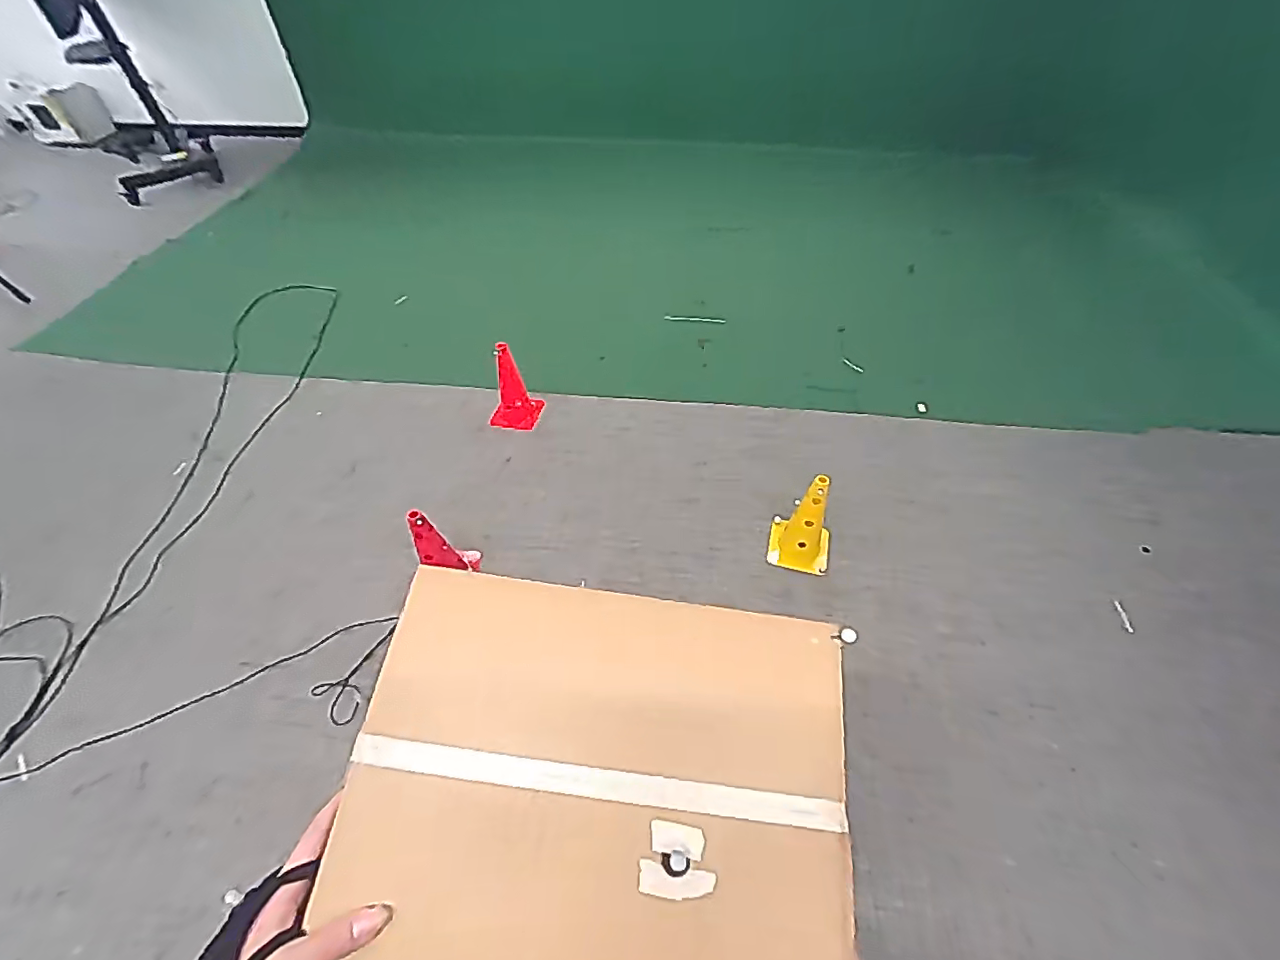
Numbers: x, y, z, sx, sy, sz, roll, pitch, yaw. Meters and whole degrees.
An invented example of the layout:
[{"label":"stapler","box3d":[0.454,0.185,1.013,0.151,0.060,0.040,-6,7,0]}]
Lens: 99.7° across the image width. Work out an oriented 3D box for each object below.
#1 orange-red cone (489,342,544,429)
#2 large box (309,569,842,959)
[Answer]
[{"label":"orange-red cone","box3d":[-0.543,-0.409,2.235,0.199,0.360,0.198,10,49,11]},{"label":"large box","box3d":[-0.040,0.312,0.592,0.408,0.320,0.320,8,64,0]}]
